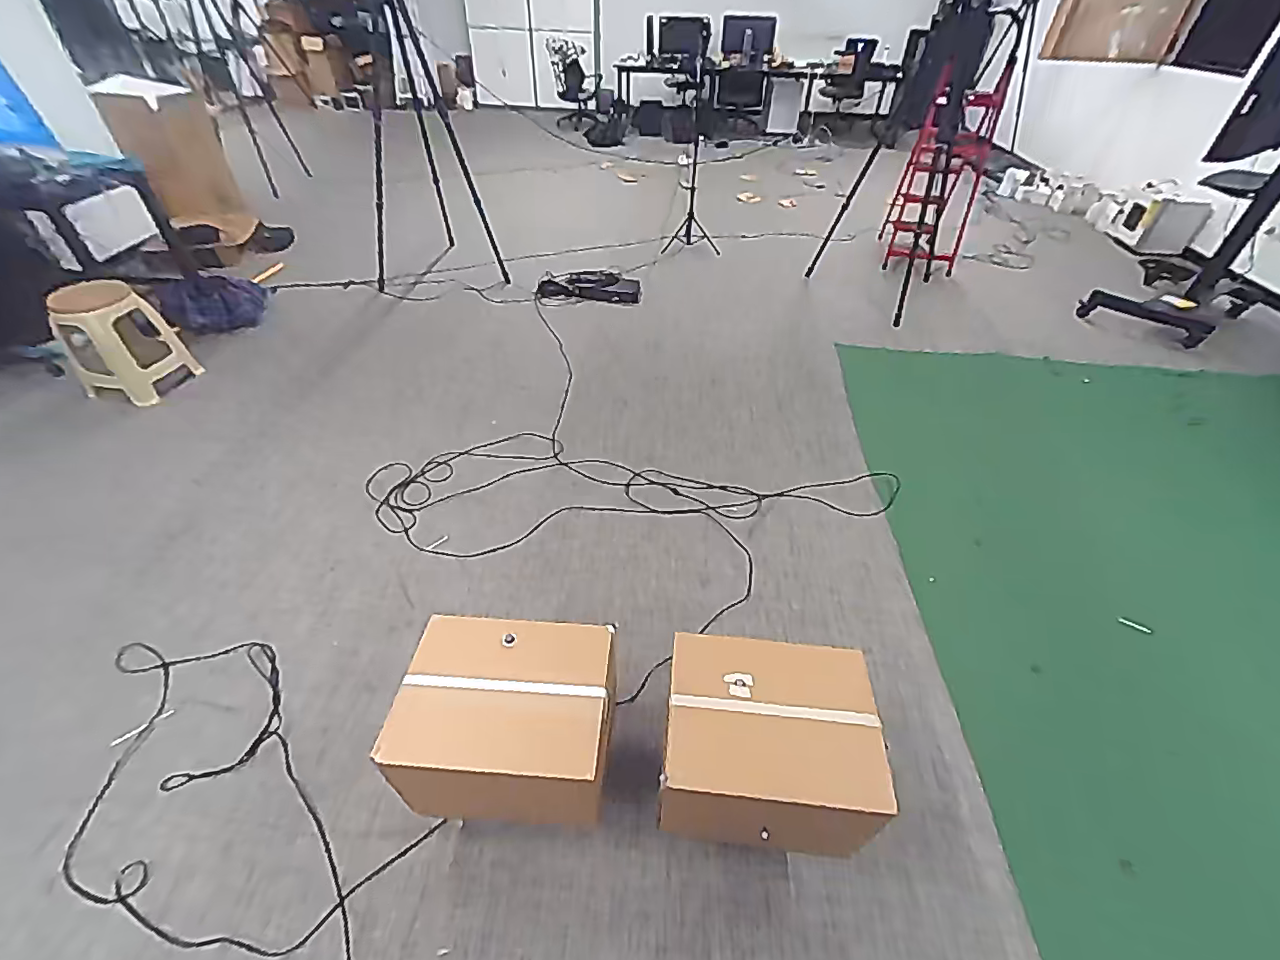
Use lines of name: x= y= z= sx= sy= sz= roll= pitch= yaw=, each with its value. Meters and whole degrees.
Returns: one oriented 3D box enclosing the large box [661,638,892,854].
large box: x=0.259 y=0.571 z=1.162 sx=0.408 sy=0.320 sz=0.320 roll=5 pitch=43 yaw=4
